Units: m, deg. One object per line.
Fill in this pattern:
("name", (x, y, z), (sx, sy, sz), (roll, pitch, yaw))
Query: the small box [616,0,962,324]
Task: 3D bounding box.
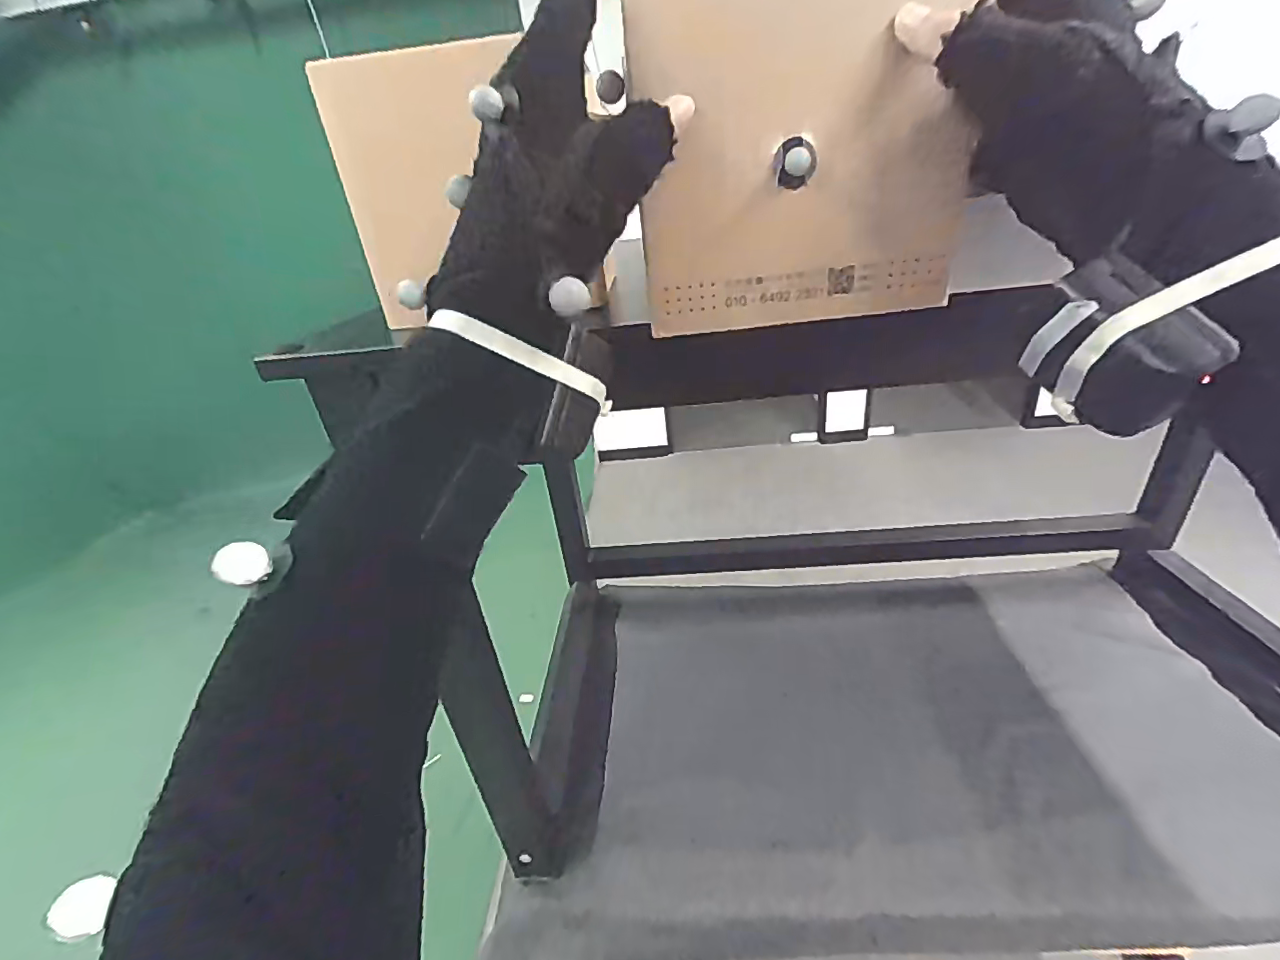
("small box", (0.080, -0.203, 0.350), (0.168, 0.176, 0.179), (-5, 28, 3))
